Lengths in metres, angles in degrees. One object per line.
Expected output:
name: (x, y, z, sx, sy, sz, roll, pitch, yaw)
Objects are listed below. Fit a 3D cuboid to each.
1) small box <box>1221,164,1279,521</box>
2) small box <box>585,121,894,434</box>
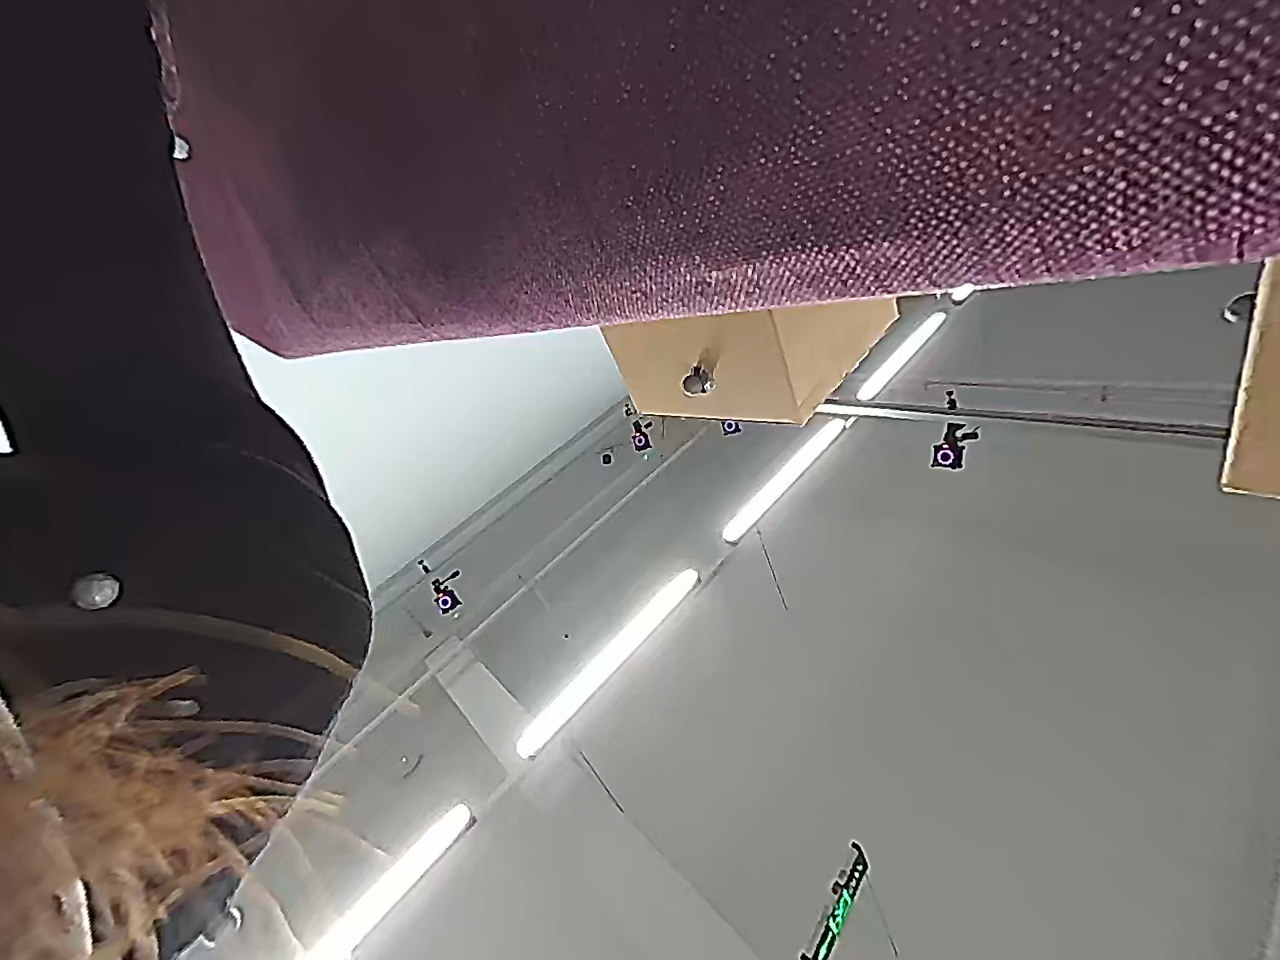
small box: (0.314, -0.088, 0.156, 0.179, 0.176, 0.168, -41, -146, -24)
small box: (0.078, -0.157, 0.439, 0.179, 0.176, 0.168, 12, -133, 48)
